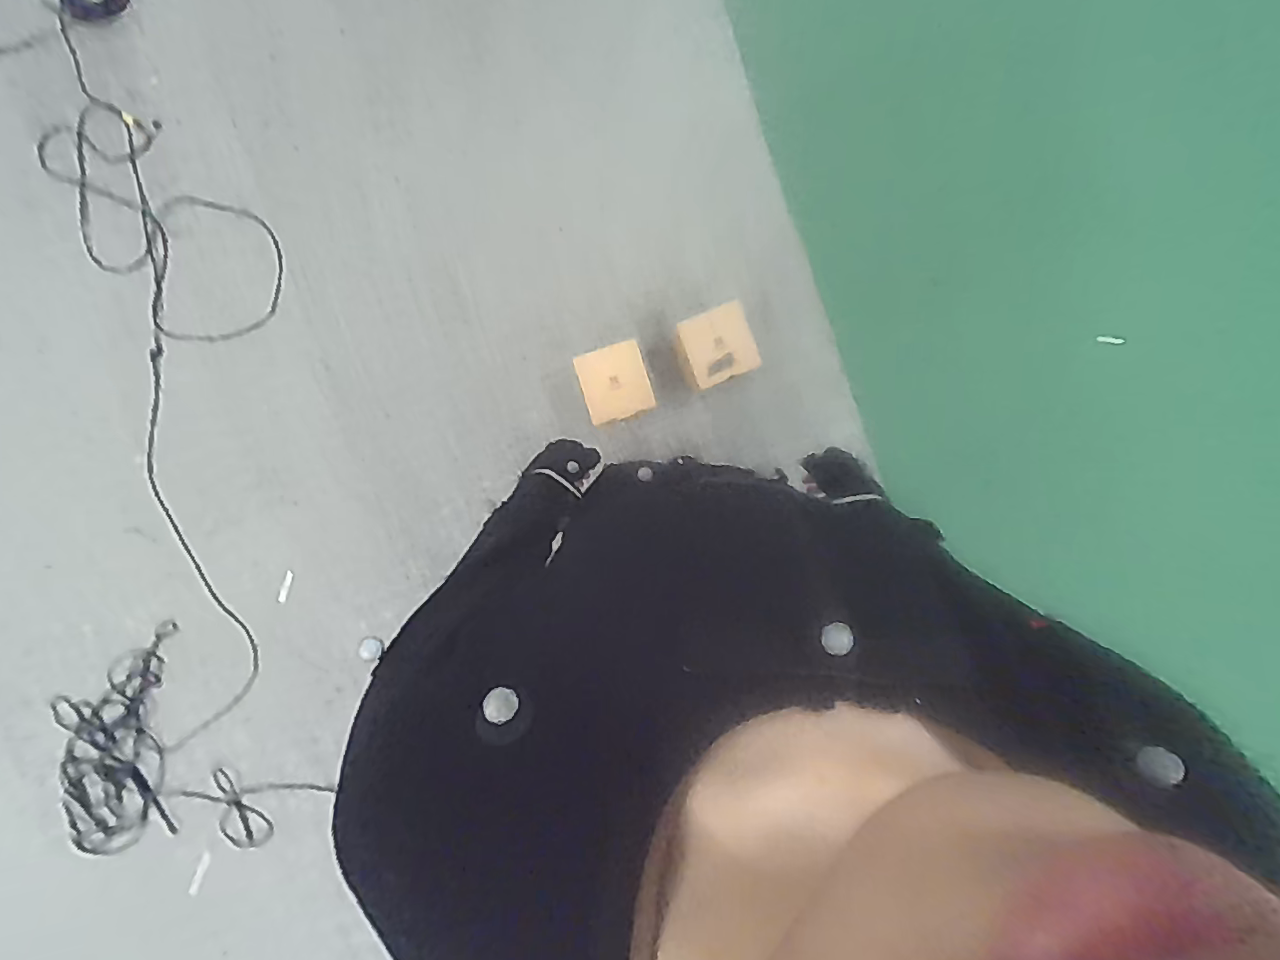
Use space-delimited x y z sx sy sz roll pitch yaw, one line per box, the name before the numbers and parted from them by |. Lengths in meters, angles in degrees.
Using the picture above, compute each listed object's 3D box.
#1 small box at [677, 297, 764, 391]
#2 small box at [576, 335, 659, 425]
small box | 0.200 -0.337 1.383 0.168 0.176 0.179 -21 92 2
small box | -0.055 -0.249 1.393 0.168 0.176 0.179 -18 93 2
